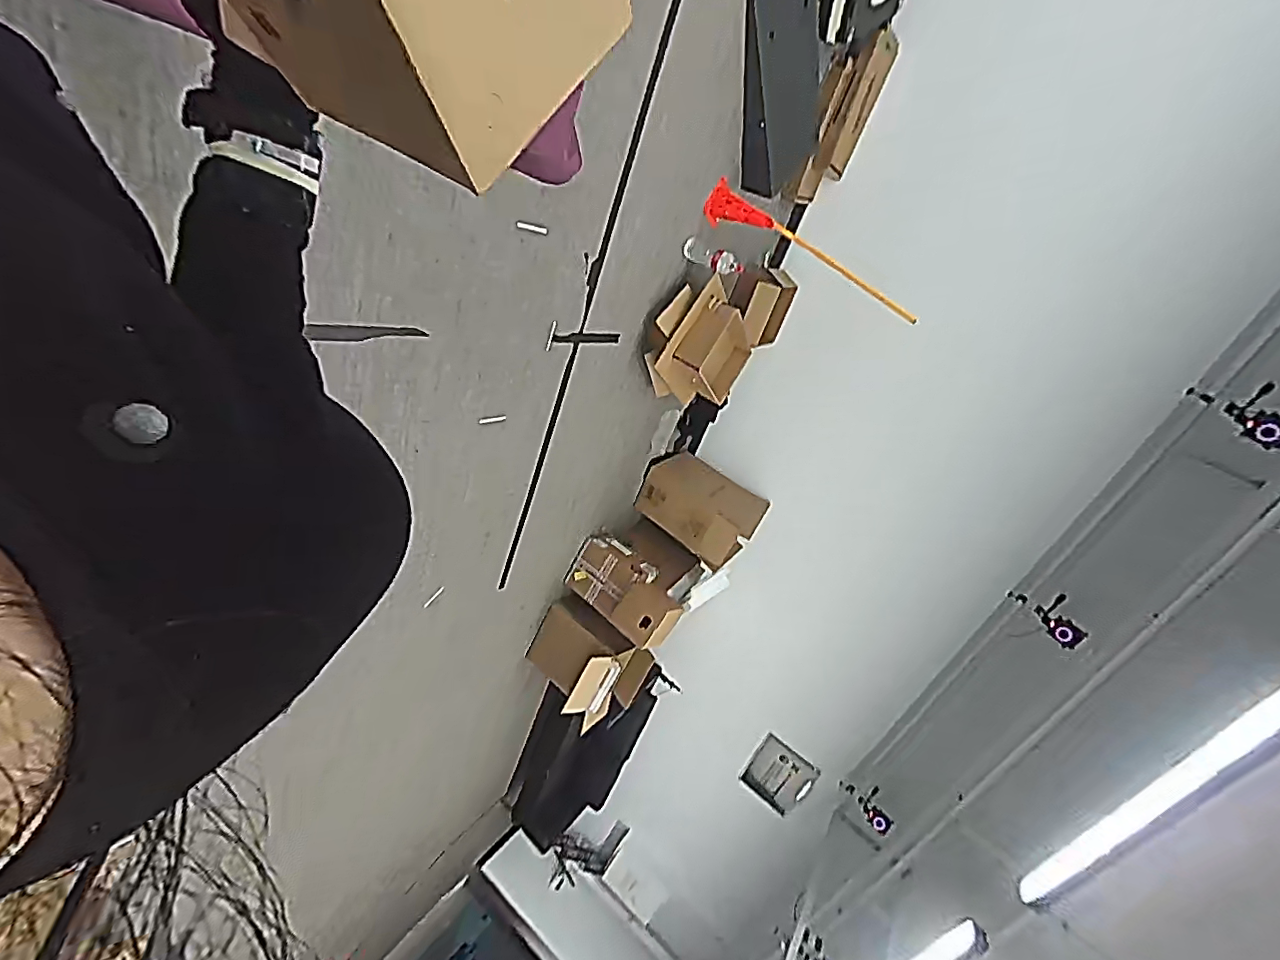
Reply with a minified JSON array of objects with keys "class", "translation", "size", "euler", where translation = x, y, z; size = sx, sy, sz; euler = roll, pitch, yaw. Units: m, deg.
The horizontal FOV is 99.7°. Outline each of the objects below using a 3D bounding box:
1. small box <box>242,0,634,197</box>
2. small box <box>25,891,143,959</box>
[{"class":"small box","translation":[-0.128,-0.311,0.306],"size":[0.179,0.176,0.168],"euler":[-56,165,-11]},{"class":"small box","translation":[-1.370,1.173,1.334],"size":[0.168,0.176,0.179],"euler":[-17,135,-59]}]
